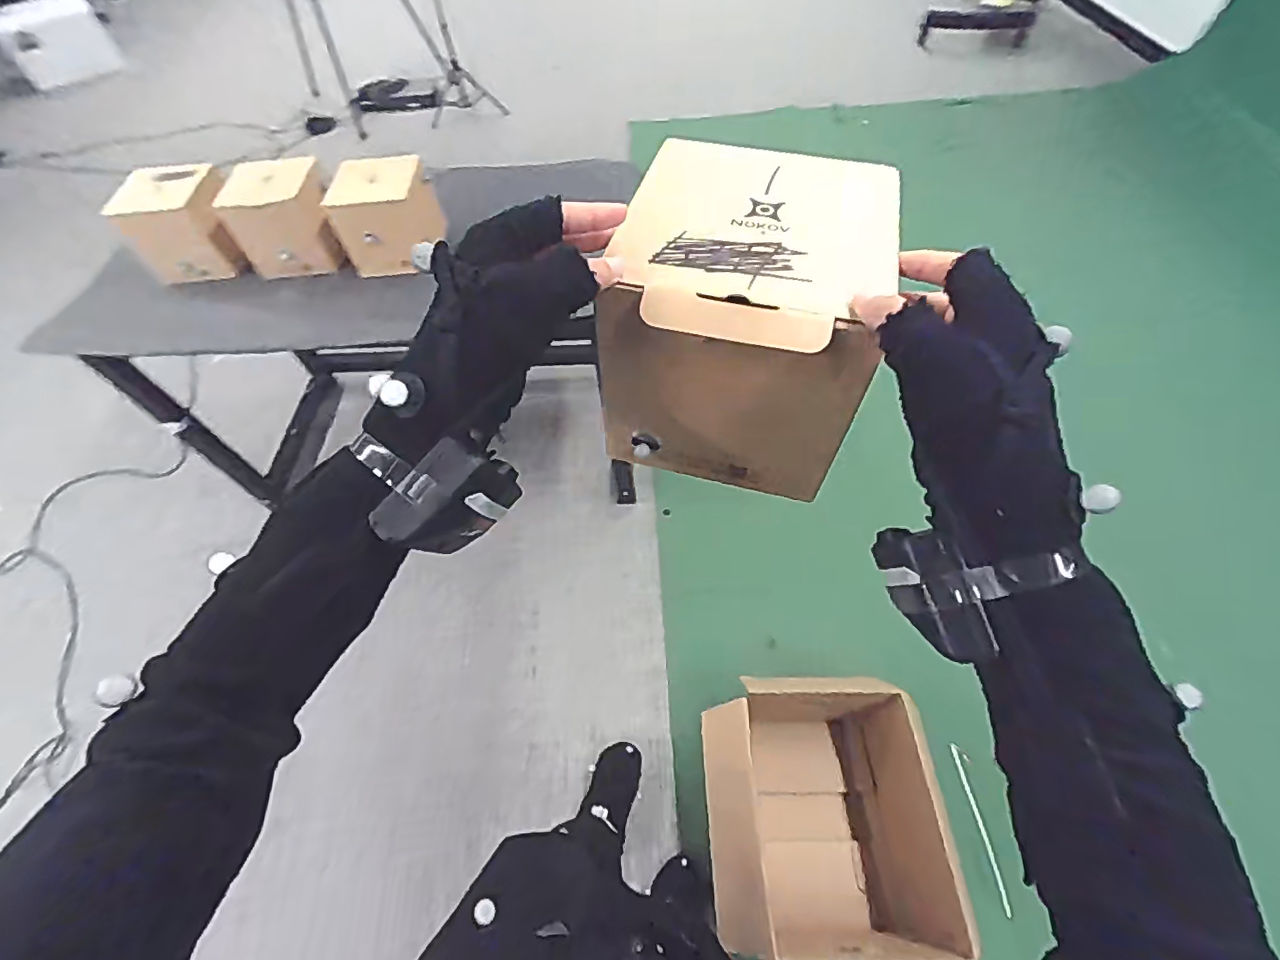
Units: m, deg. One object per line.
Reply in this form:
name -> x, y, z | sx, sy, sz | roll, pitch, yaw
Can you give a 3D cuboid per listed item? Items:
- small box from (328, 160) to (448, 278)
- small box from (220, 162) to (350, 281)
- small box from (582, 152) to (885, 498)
small box -> -0.529, -0.554, 1.164 | 0.168, 0.176, 0.179 | -4, 55, 1
small box -> -0.753, -0.562, 1.180 | 0.168, 0.176, 0.179 | -5, 56, 0
small box -> 0.068, -0.110, 0.404 | 0.168, 0.176, 0.179 | 13, 55, 8
